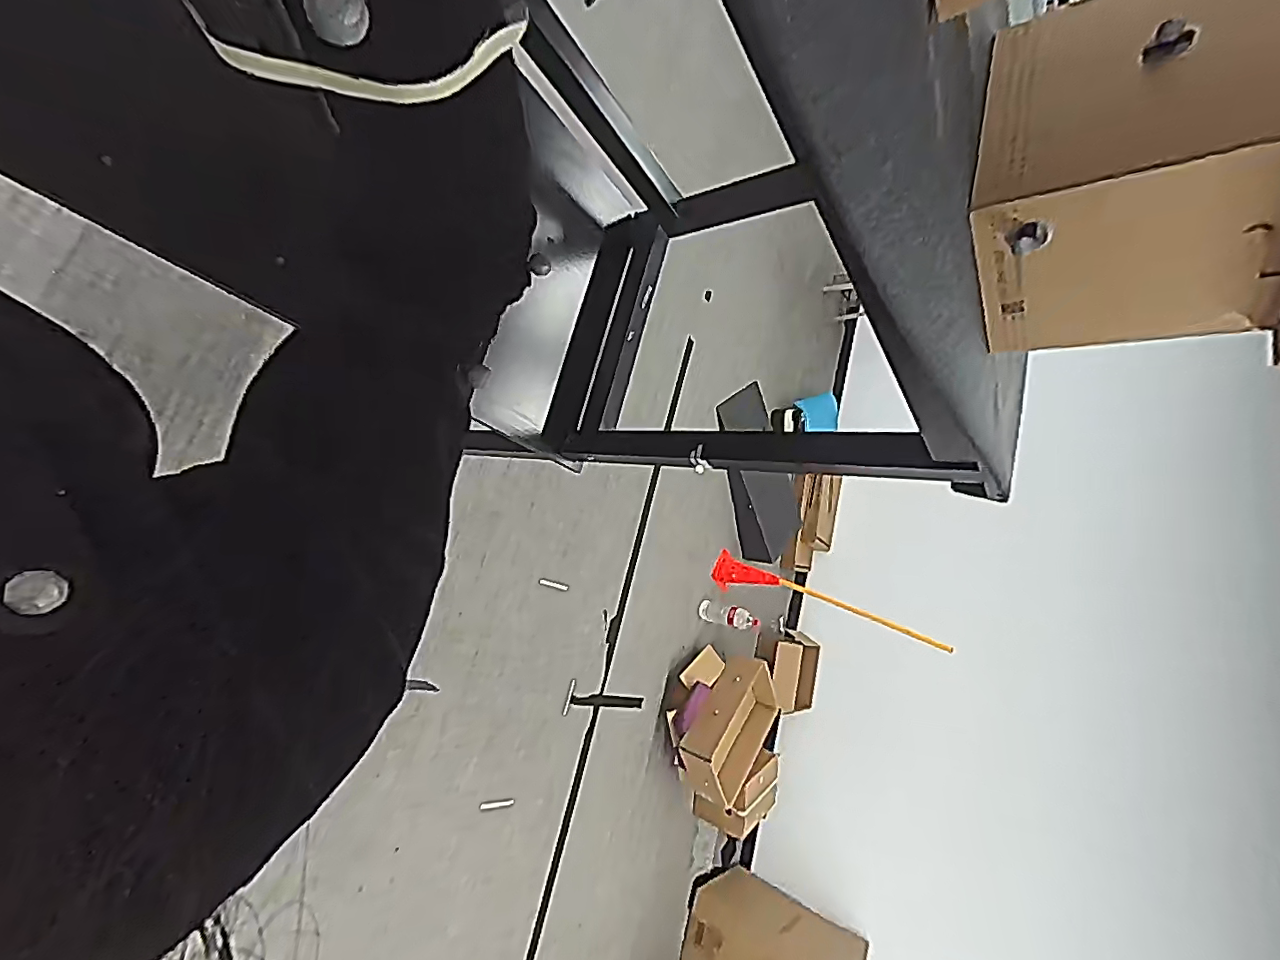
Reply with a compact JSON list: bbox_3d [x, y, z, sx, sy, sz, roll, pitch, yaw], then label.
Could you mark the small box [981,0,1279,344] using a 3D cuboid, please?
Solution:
[{"bbox_3d":[0.350,-0.217,0.386,0.168,0.176,0.179,36,64,-47],"label":"small box"}]
